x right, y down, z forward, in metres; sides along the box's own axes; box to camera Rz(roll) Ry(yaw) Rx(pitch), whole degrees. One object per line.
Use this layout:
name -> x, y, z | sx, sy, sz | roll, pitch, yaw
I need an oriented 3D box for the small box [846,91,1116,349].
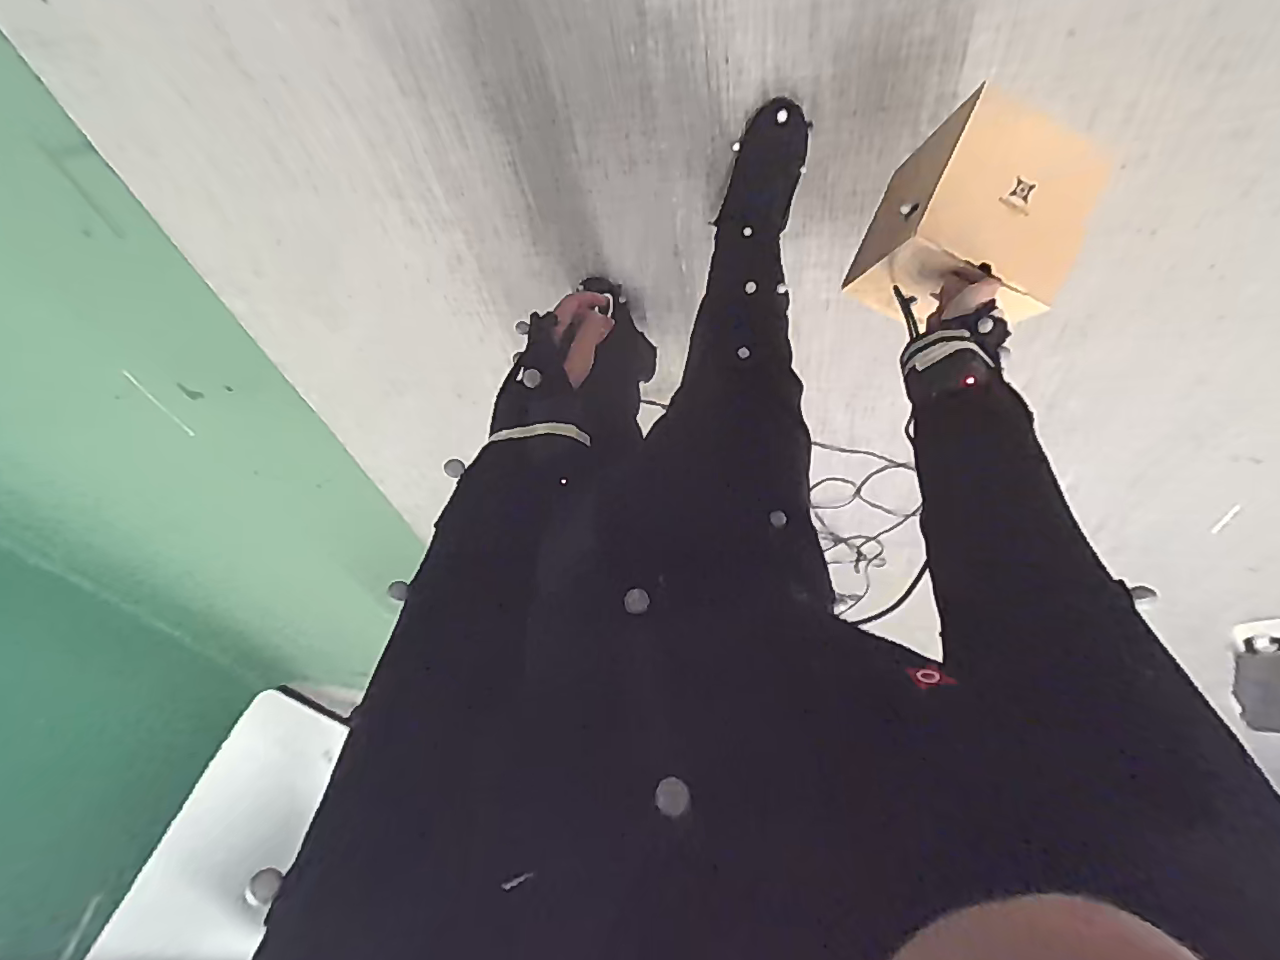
small box -> 0.368, -0.276, 0.618 | 0.168, 0.179, 0.176 | 25, 179, -5
